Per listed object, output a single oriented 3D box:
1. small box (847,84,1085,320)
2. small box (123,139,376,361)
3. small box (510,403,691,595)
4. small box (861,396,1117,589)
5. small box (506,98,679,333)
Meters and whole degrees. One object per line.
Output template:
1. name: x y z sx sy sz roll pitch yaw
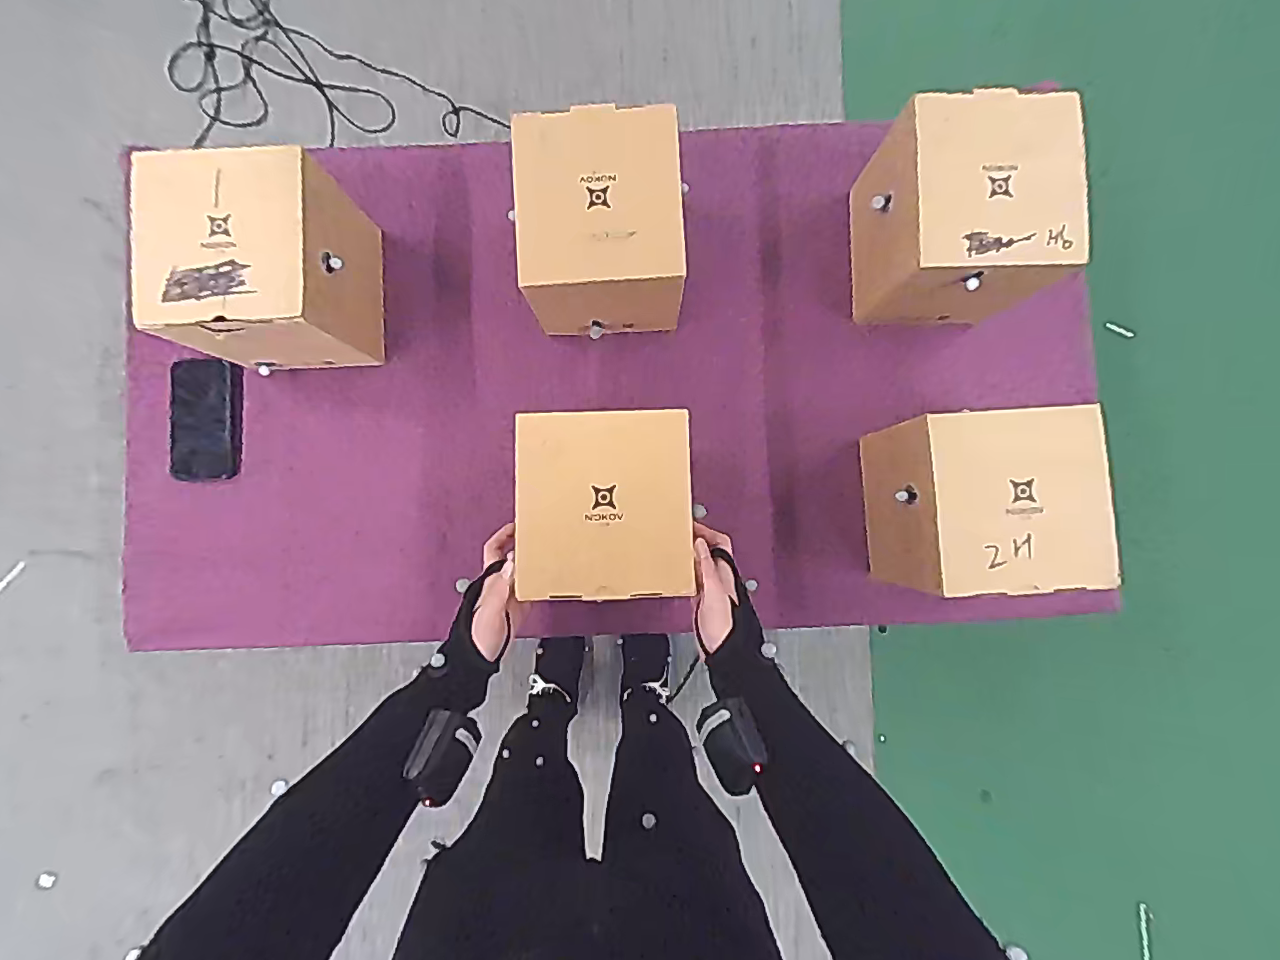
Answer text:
1. small box: 0.341 -0.293 0.600 0.168 0.176 0.179 -1 86 1
2. small box: -0.410 -0.235 0.597 0.168 0.176 0.179 -3 86 -1
3. small box: -0.039 0.026 0.574 0.168 0.176 0.179 -2 83 -1
4. small box: 0.351 0.016 0.579 0.168 0.176 0.179 -3 87 1
5. small box: -0.047 -0.278 0.601 0.168 0.176 0.179 -3 88 1
